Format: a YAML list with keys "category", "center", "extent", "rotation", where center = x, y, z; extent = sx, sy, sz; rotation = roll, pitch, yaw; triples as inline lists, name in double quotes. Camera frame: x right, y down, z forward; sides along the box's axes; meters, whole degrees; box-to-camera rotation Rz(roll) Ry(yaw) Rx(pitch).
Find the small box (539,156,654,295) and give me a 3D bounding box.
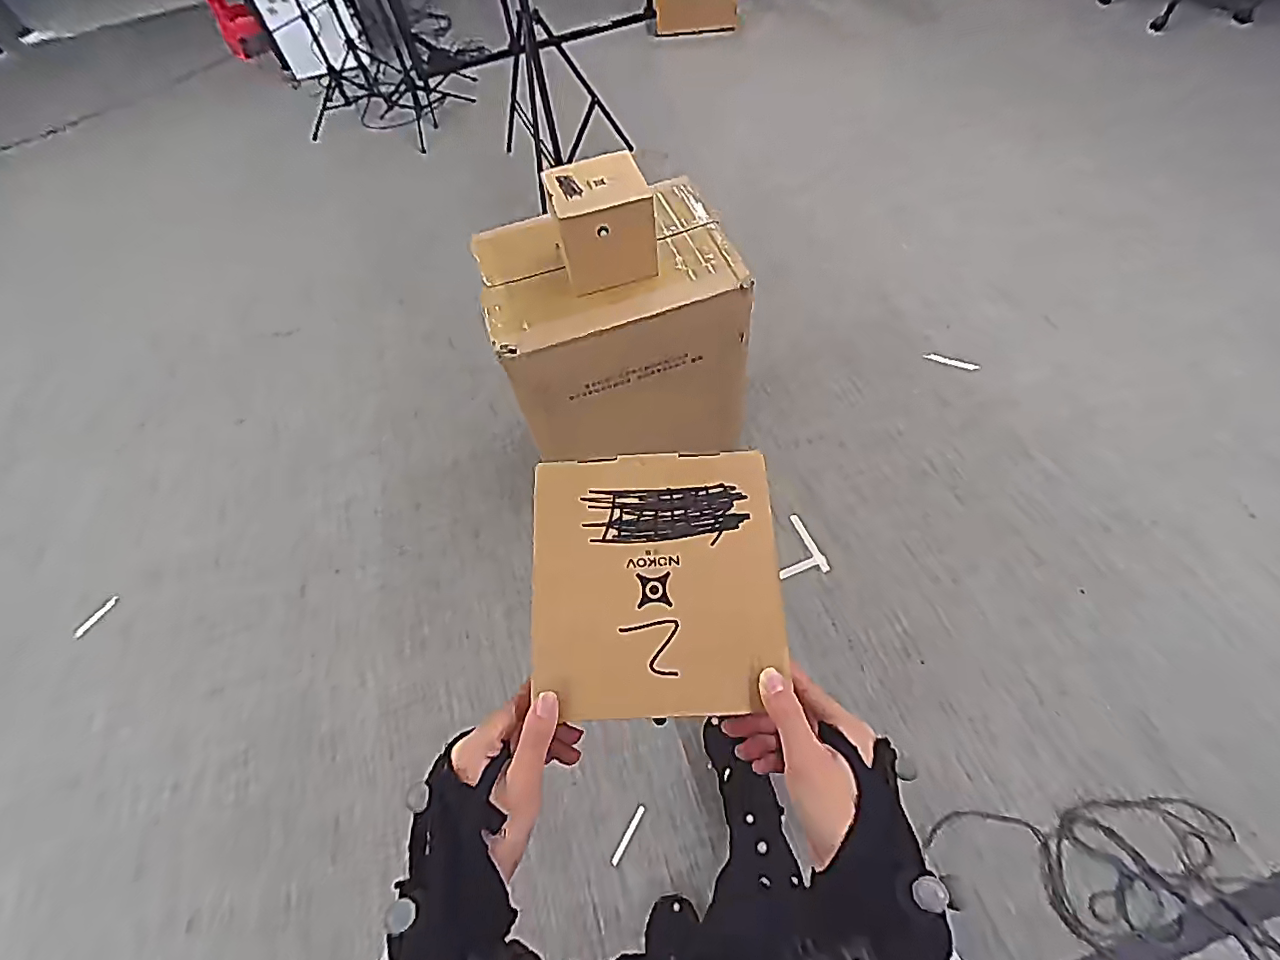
- category: "small box"
  center: [-0.080, -0.491, 1.057]
  extent: [0.179, 0.176, 0.168]
  rotation: [-17, 59, -5]
